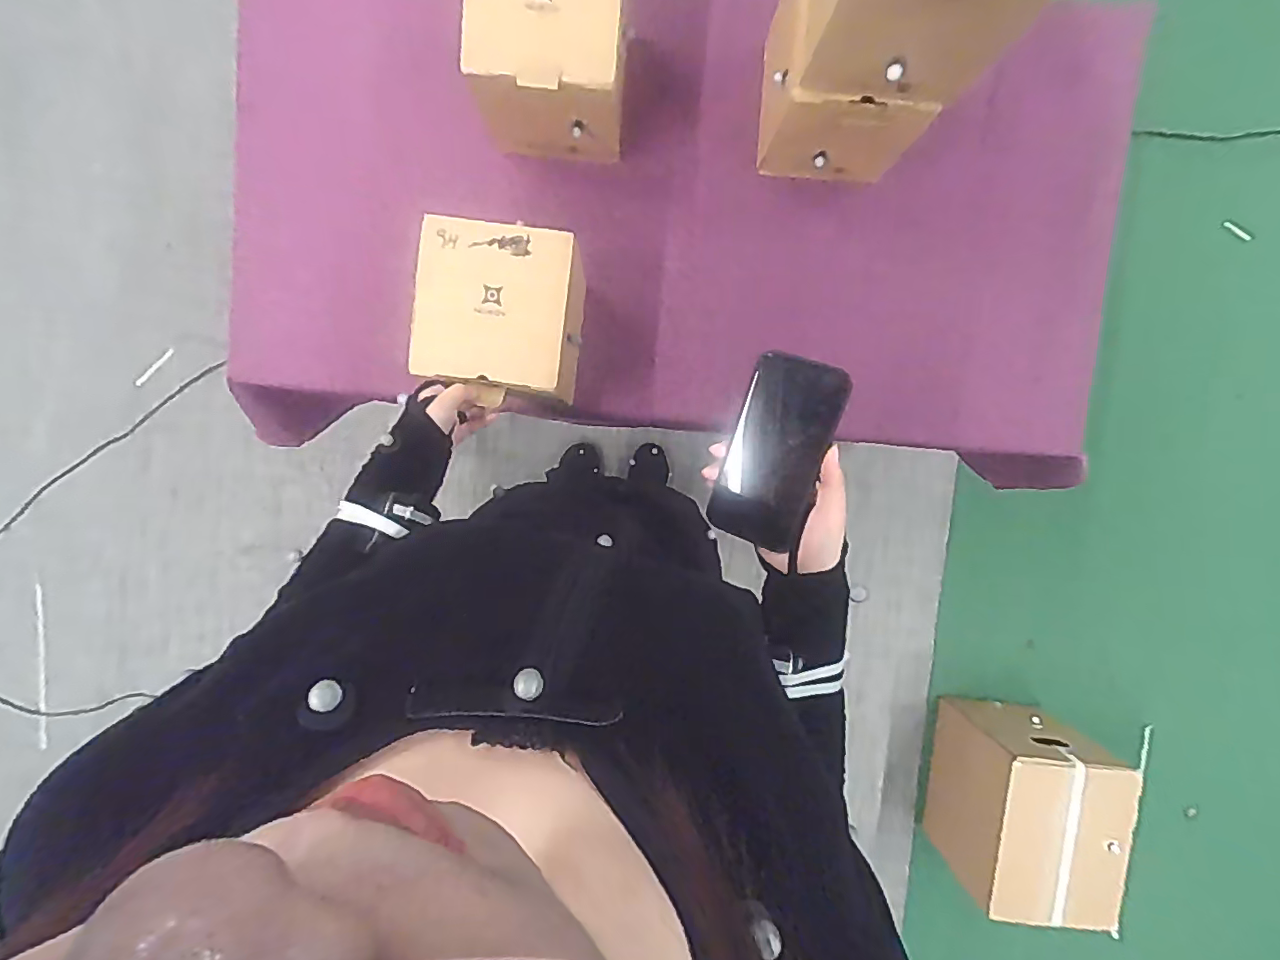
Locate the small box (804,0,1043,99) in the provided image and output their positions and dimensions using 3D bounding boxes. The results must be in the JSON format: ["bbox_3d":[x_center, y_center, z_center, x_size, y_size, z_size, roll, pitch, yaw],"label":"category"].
[{"bbox_3d":[0.258,-0.490,0.483,0.168,0.176,0.179,5,96,-1],"label":"small box"}]

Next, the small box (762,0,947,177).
[{"bbox_3d":[0.249,-0.498,0.648,0.168,0.176,0.179,3,96,-1],"label":"small box"}]

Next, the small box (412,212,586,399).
[{"bbox_3d":[-0.161,-0.199,0.667,0.168,0.176,0.179,7,94,-1],"label":"small box"}]

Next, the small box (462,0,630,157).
[{"bbox_3d":[-0.100,-0.518,0.644,0.168,0.176,0.179,5,95,-2],"label":"small box"}]
